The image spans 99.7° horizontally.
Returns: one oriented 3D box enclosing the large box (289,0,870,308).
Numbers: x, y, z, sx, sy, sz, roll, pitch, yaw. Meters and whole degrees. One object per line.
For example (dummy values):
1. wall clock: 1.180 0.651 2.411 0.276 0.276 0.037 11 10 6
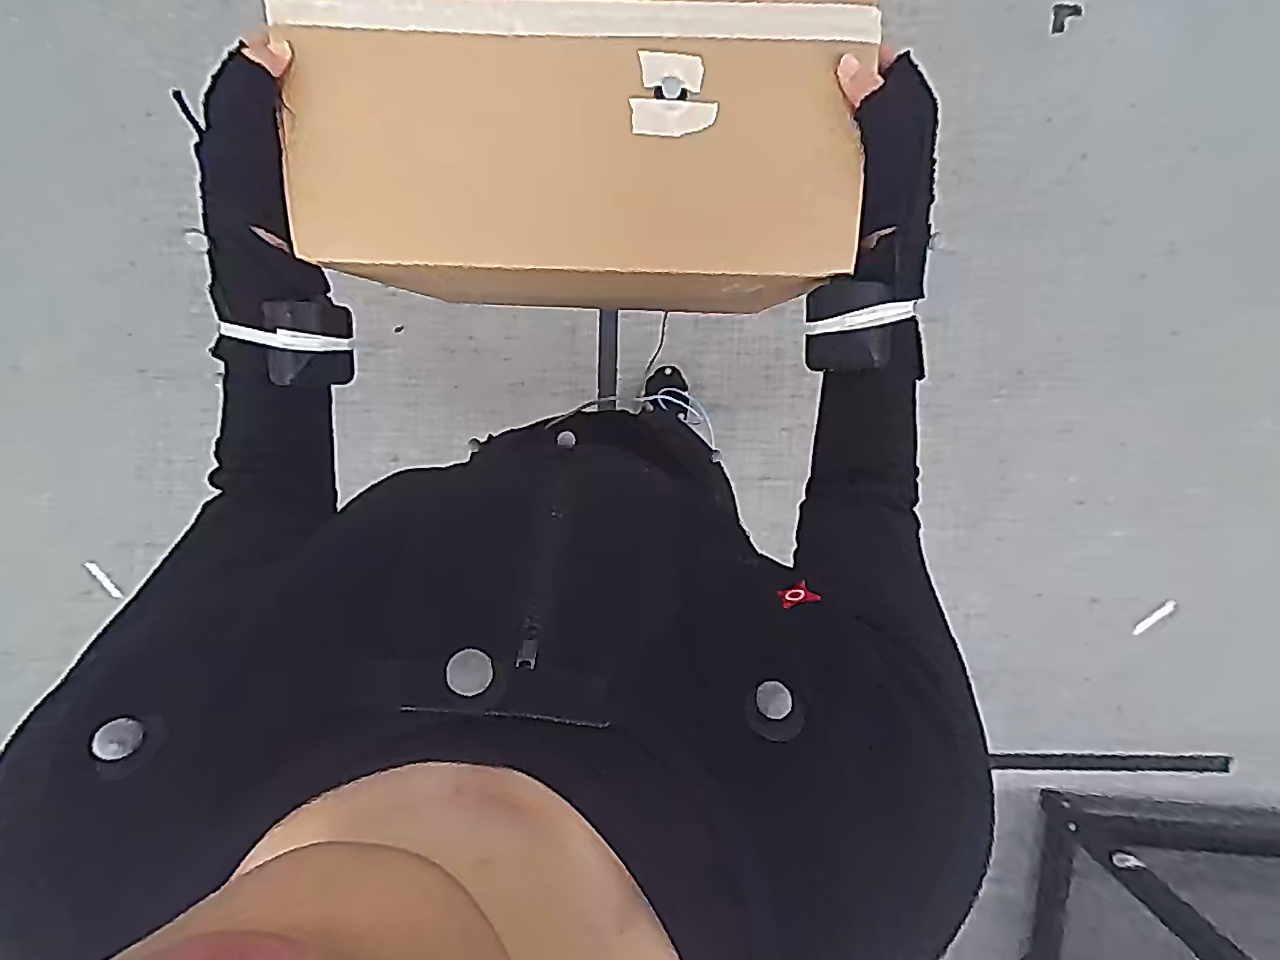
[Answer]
1. large box: -0.045 -0.340 0.516 0.408 0.320 0.320 1 103 -1
